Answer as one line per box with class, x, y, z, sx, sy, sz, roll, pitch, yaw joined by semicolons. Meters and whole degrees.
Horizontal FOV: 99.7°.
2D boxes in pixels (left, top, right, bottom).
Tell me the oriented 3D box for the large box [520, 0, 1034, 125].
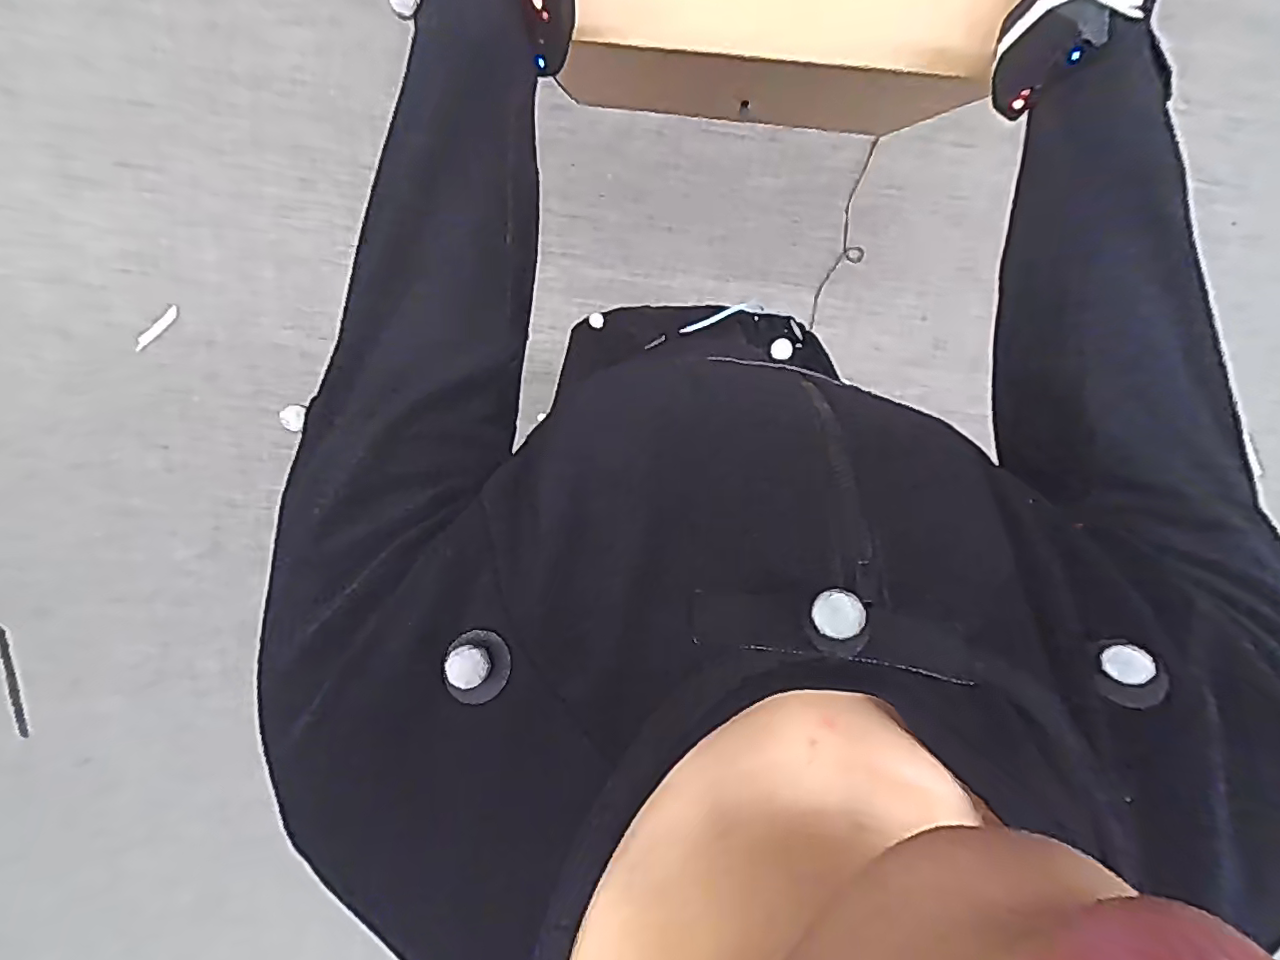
large box;0.121;-0.541;0.501;0.408;0.320;0.320;6;115;0
